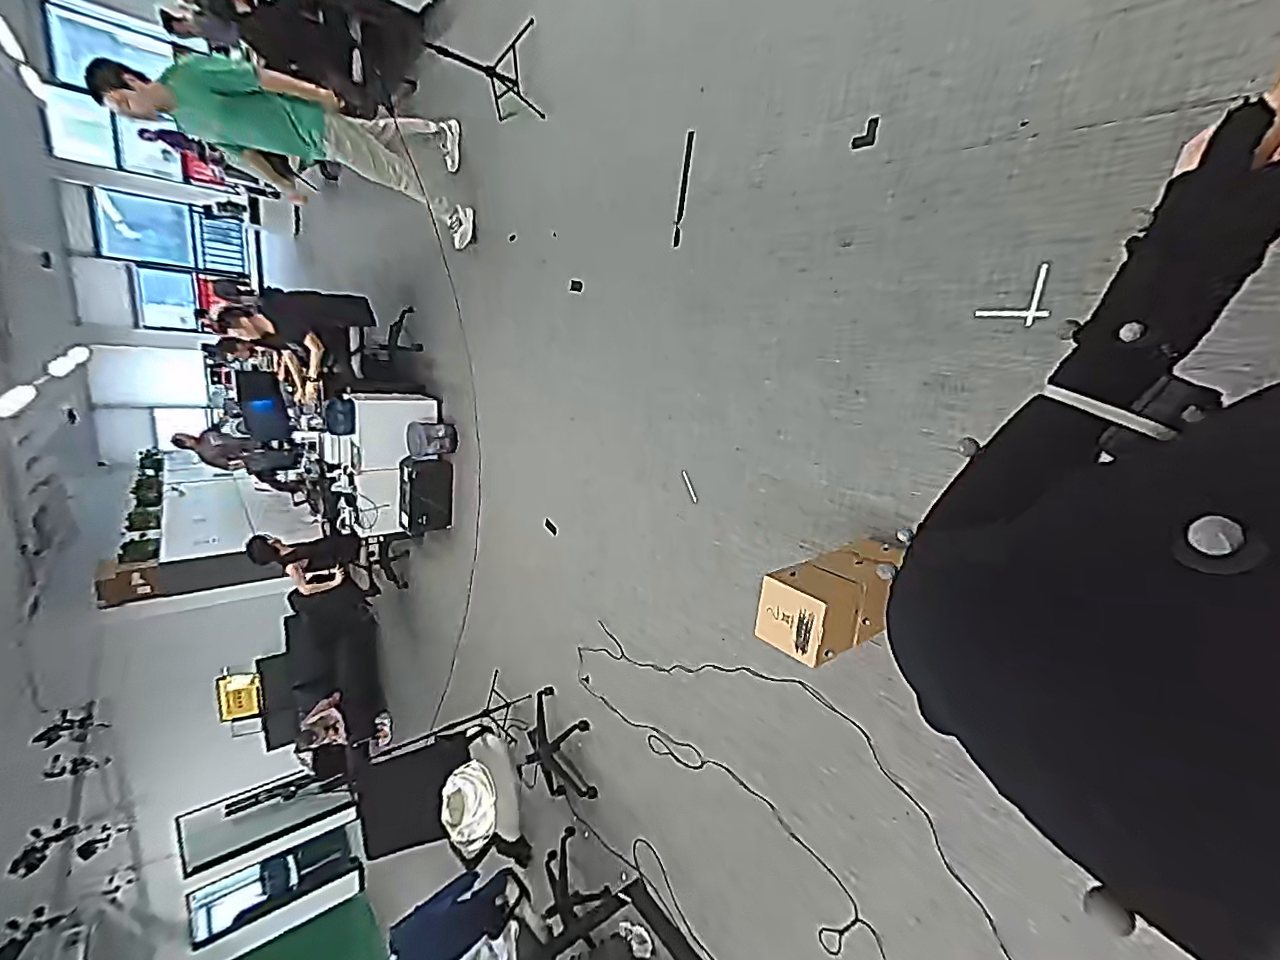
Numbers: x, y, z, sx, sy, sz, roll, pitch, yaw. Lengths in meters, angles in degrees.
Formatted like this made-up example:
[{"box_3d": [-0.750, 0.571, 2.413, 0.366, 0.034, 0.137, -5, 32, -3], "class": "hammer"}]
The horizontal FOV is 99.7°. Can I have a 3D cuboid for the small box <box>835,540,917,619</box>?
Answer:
[{"box_3d": [0.658, 0.285, 1.532, 0.168, 0.176, 0.179, 20, 110, 47], "class": "small box"}]

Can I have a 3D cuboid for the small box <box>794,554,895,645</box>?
[{"box_3d": [0.537, 0.303, 1.423, 0.179, 0.176, 0.168, 20, 111, 48], "class": "small box"}]
